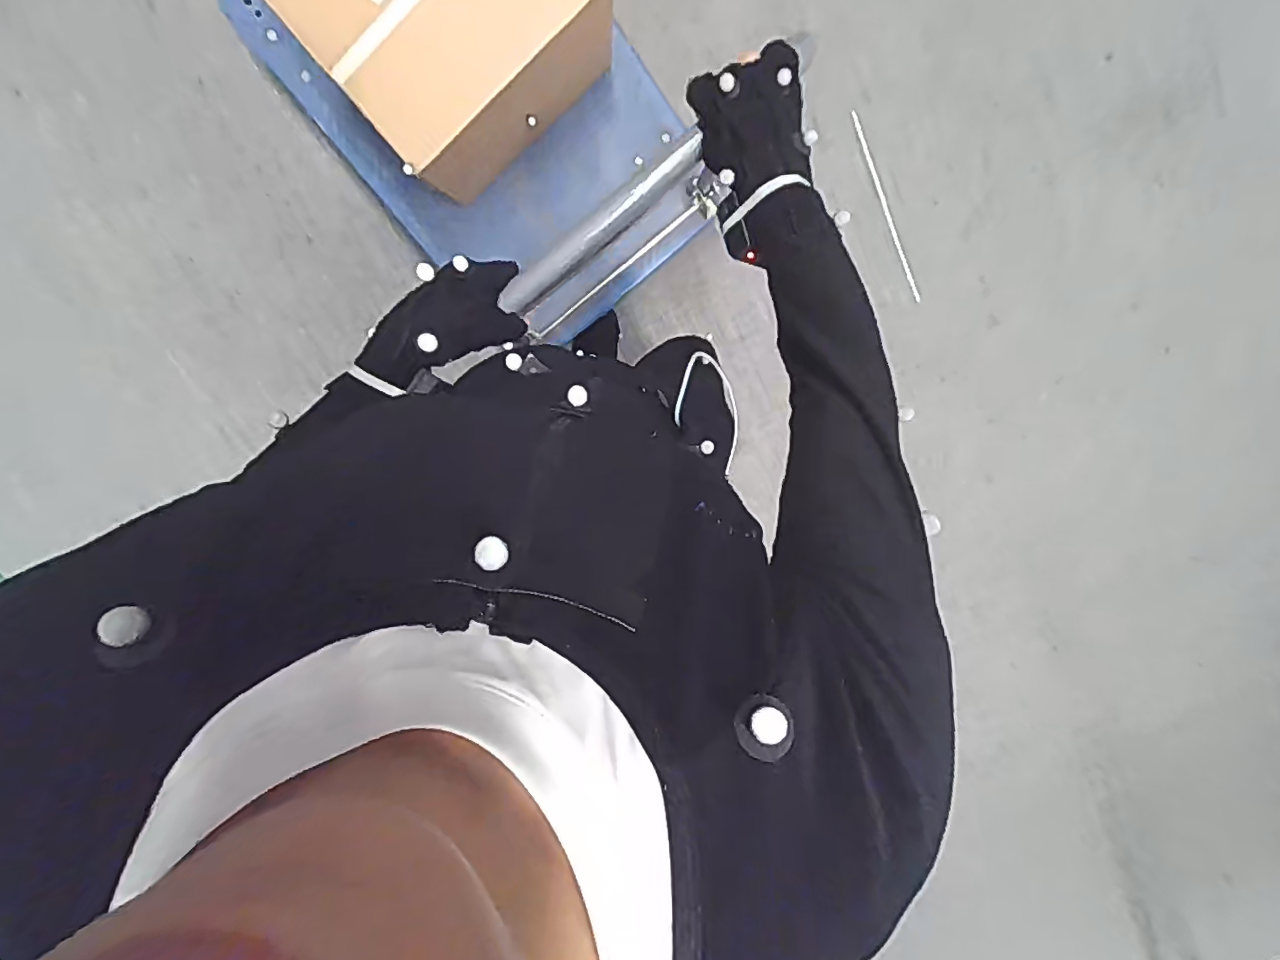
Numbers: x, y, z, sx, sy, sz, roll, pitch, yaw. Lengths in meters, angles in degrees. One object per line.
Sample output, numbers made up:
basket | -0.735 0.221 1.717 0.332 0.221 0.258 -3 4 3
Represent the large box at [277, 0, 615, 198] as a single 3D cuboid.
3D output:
large box | -0.287 -0.764 0.912 0.408 0.320 0.320 -39 106 10
